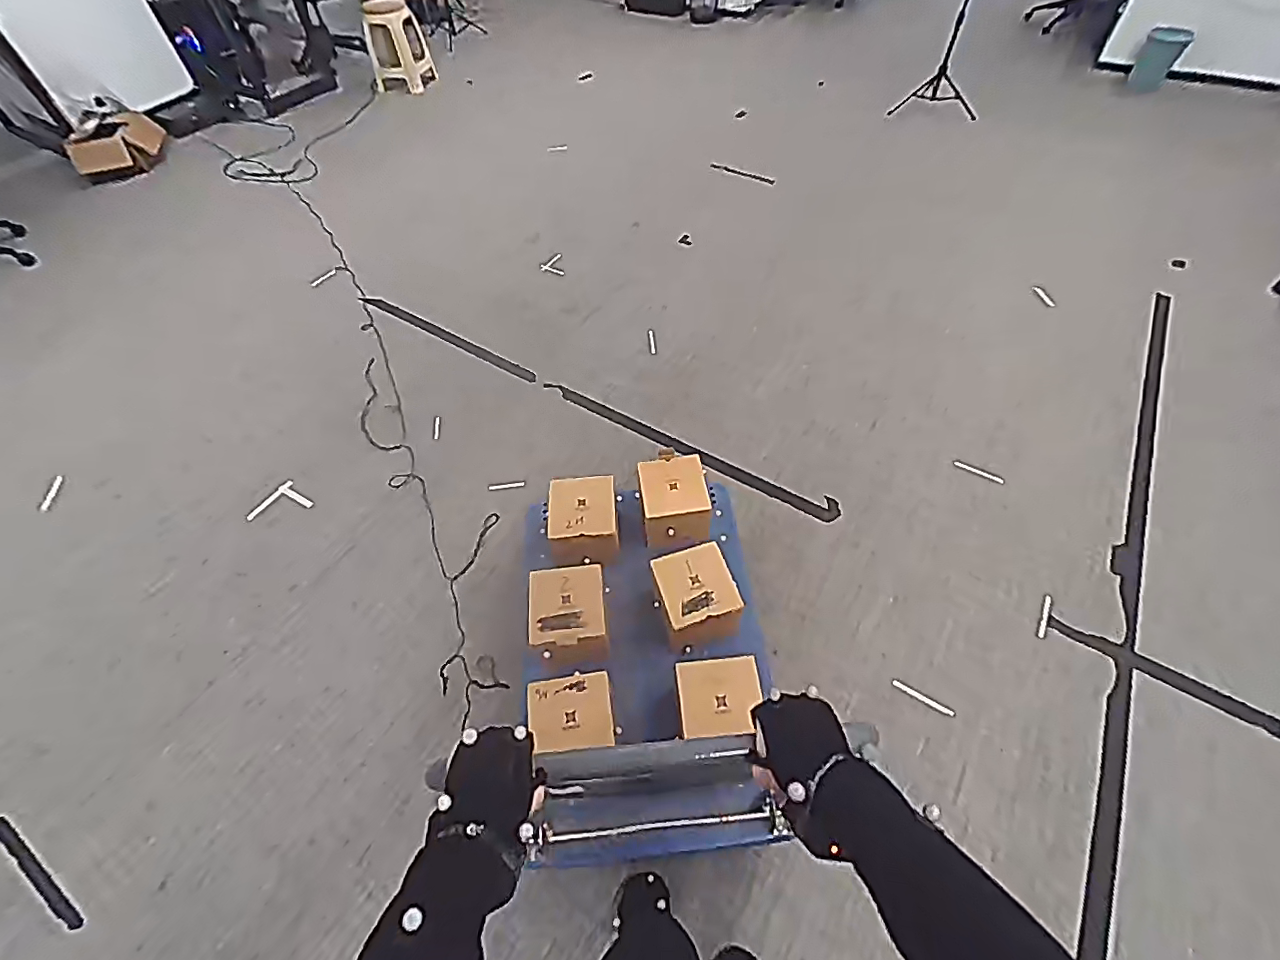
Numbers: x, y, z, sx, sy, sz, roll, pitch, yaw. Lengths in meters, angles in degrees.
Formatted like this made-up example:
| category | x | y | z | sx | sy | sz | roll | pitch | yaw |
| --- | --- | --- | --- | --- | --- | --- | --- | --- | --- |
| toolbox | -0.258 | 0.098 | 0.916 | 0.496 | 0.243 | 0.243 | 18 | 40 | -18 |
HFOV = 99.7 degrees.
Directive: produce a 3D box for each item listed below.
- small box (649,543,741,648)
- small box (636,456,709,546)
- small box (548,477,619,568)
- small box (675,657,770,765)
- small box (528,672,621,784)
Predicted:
| category | x | y | z | sx | sy | sz | roll | pitch | yaw |
| --- | --- | --- | --- | --- | --- | --- | --- | --- | --- |
| small box | 0.127 | 0.280 | 1.280 | 0.168 | 0.176 | 0.179 | -15 | 54 | -8 |
| small box | 0.085 | 0.062 | 1.438 | 0.168 | 0.176 | 0.179 | -8 | 55 | -3 |
| small box | -0.143 | 0.113 | 1.411 | 0.168 | 0.176 | 0.179 | -4 | 55 | 0 |
| small box | 0.163 | 0.488 | 1.132 | 0.168 | 0.176 | 0.179 | -5 | 54 | -1 |
| small box | -0.132 | 0.519 | 1.121 | 0.168 | 0.176 | 0.179 | -8 | 55 | -4 |
